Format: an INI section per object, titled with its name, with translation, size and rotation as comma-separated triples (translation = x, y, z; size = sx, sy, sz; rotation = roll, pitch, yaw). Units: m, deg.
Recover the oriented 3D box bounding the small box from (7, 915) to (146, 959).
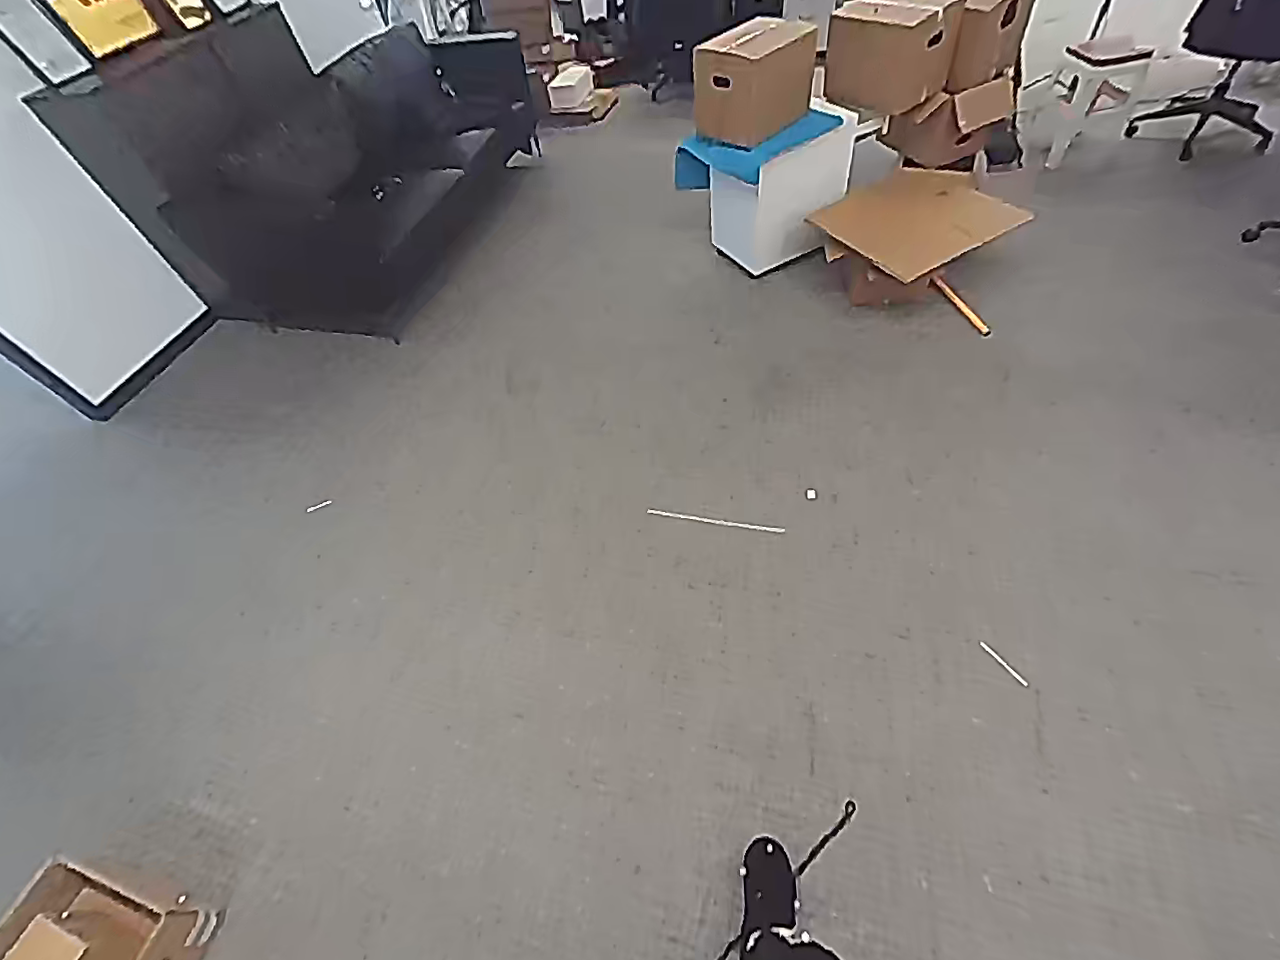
[small box]
translation = -1.301, 1.117, 1.228
size = 0.179, 0.176, 0.168
rotation = 10, 55, 17
